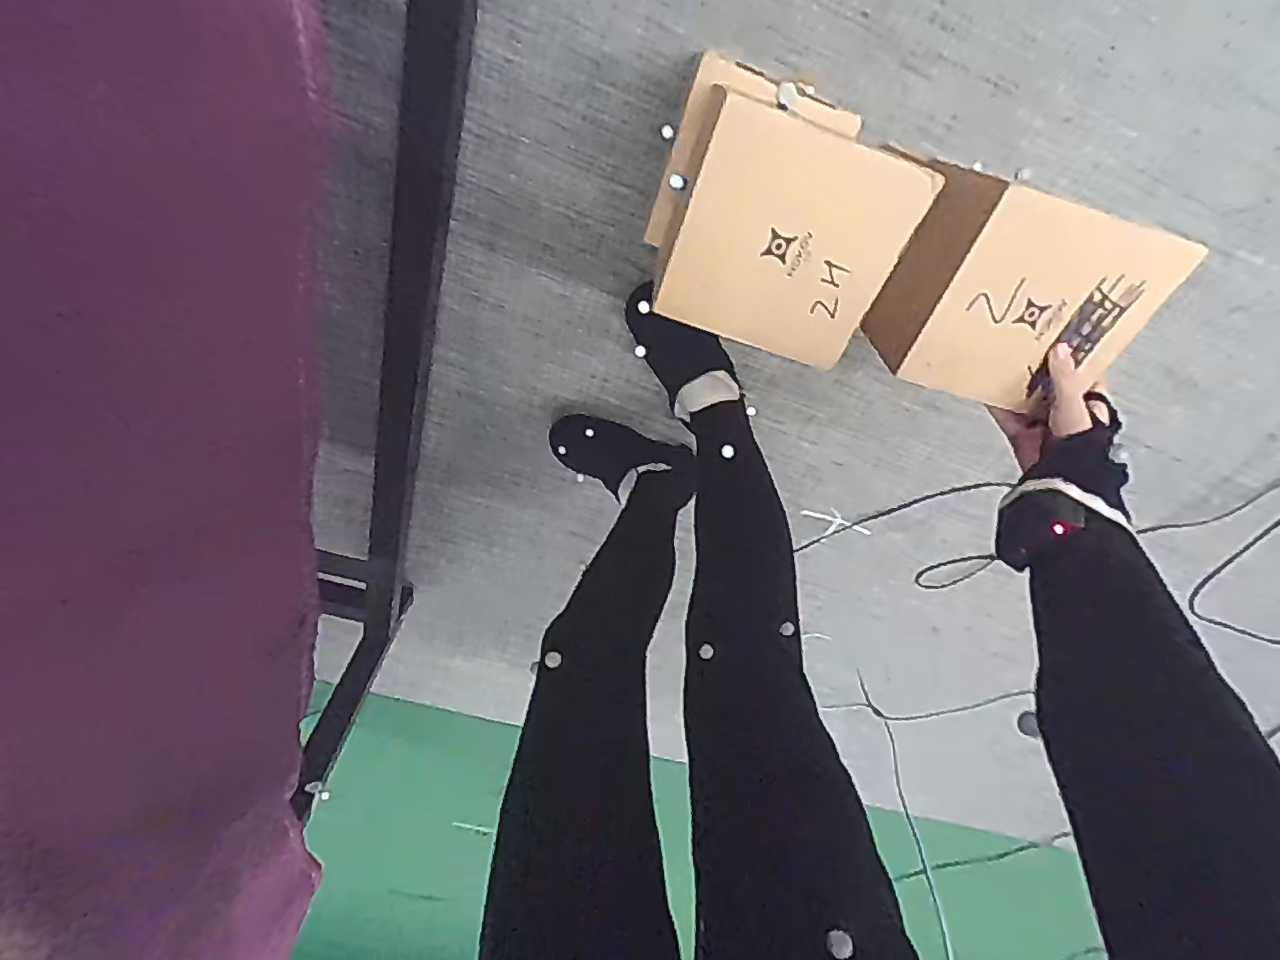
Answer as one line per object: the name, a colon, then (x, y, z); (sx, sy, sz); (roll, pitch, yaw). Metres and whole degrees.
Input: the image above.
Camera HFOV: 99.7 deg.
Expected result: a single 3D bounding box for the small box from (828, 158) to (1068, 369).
small box: (0.349, -0.267, 0.661); (0.168, 0.176, 0.179); (14, 126, -7)
